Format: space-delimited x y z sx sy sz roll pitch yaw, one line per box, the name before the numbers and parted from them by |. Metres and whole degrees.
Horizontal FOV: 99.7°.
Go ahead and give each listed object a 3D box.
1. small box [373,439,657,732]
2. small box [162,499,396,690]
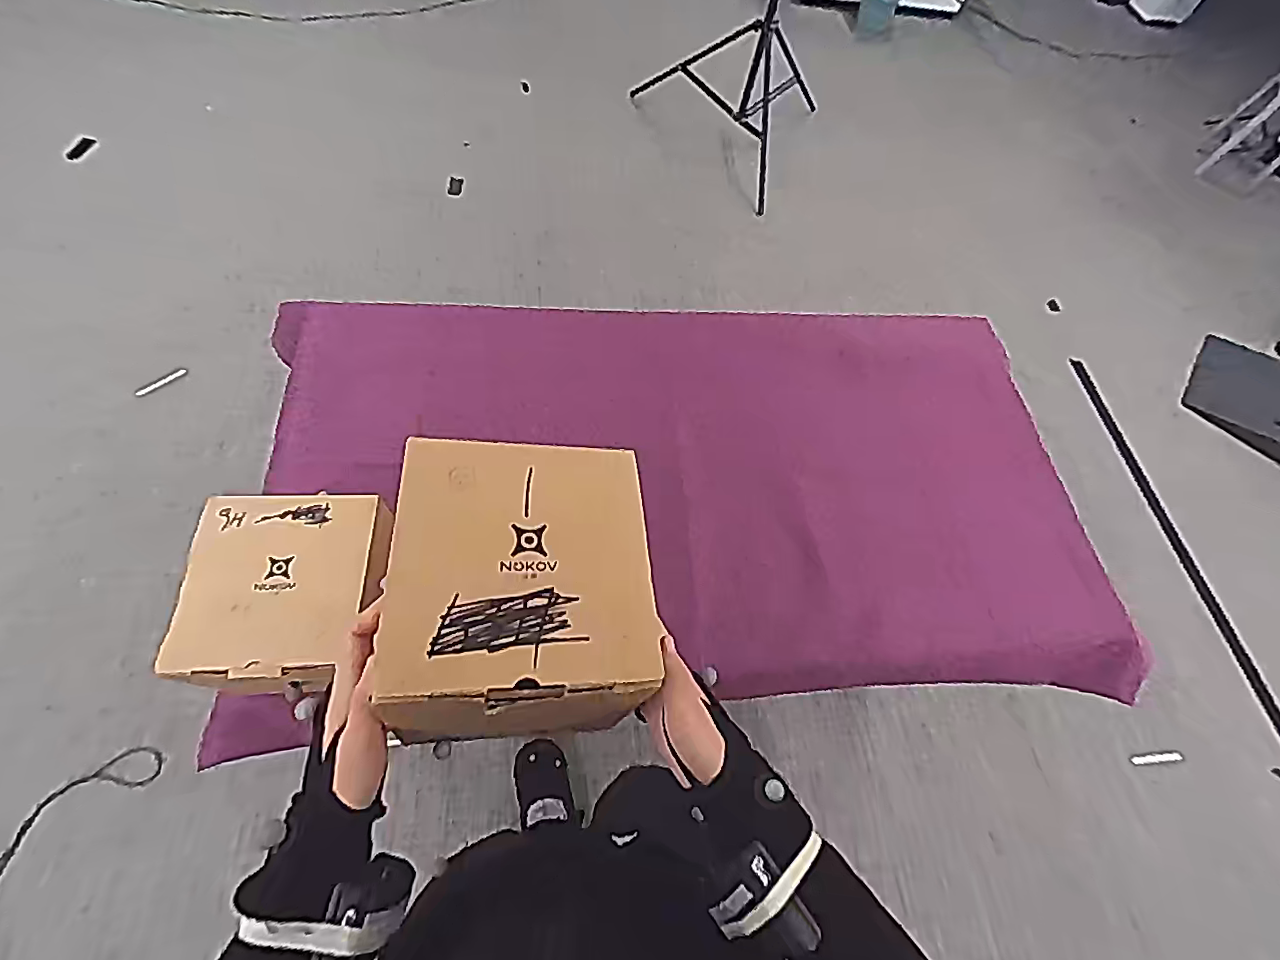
small box | -0.094 0.090 0.421 0.168 0.176 0.179 3 56 -15
small box | -0.360 0.133 0.596 0.168 0.176 0.179 0 64 -9
